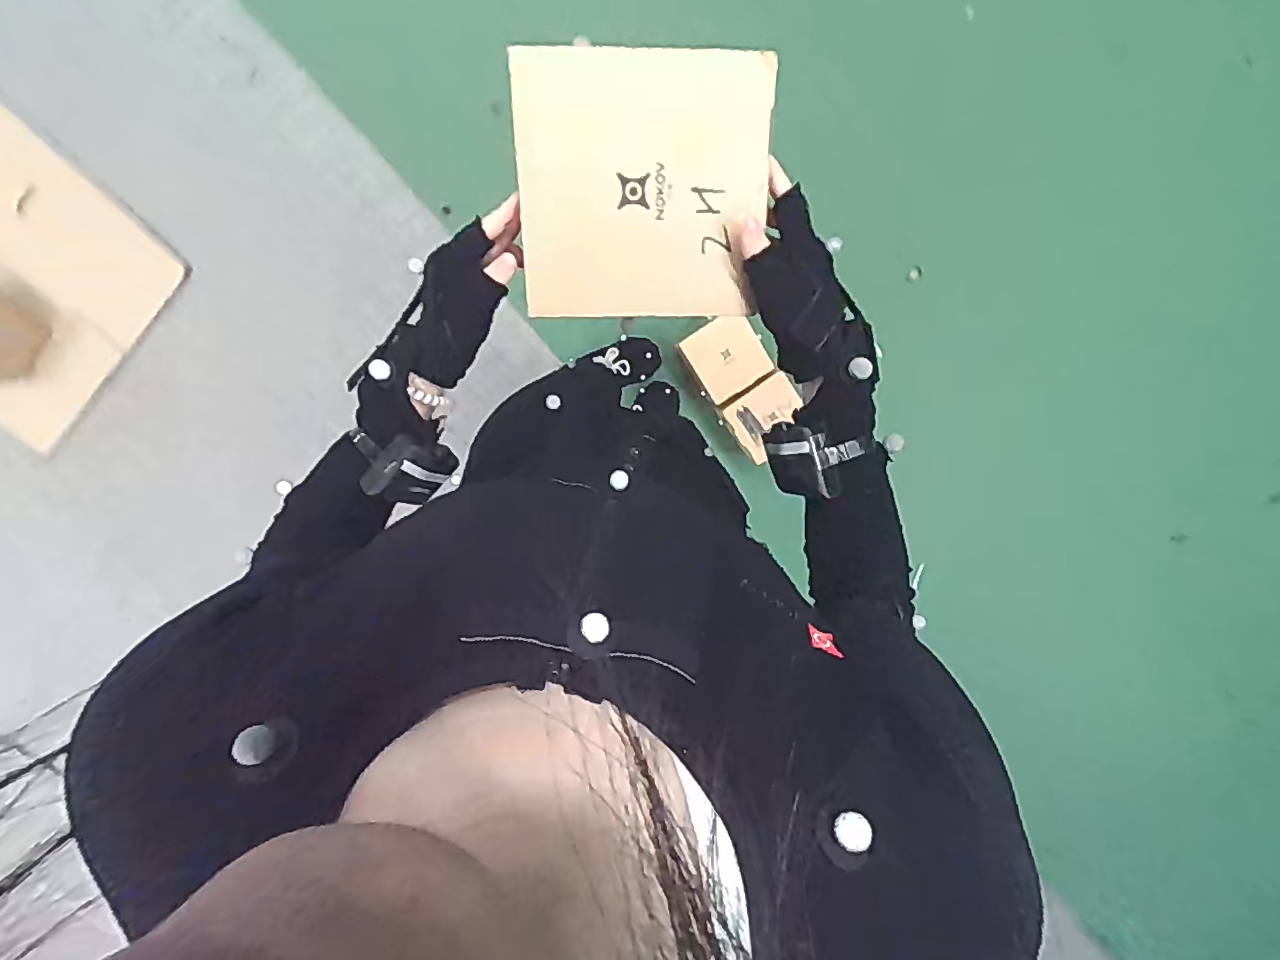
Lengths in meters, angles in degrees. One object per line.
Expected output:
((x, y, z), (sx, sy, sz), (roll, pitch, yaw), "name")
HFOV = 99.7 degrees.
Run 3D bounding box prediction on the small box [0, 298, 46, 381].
((-1.632, -0.351, 1.313), (0.179, 0.176, 0.168), (40, 101, -9), "small box")
